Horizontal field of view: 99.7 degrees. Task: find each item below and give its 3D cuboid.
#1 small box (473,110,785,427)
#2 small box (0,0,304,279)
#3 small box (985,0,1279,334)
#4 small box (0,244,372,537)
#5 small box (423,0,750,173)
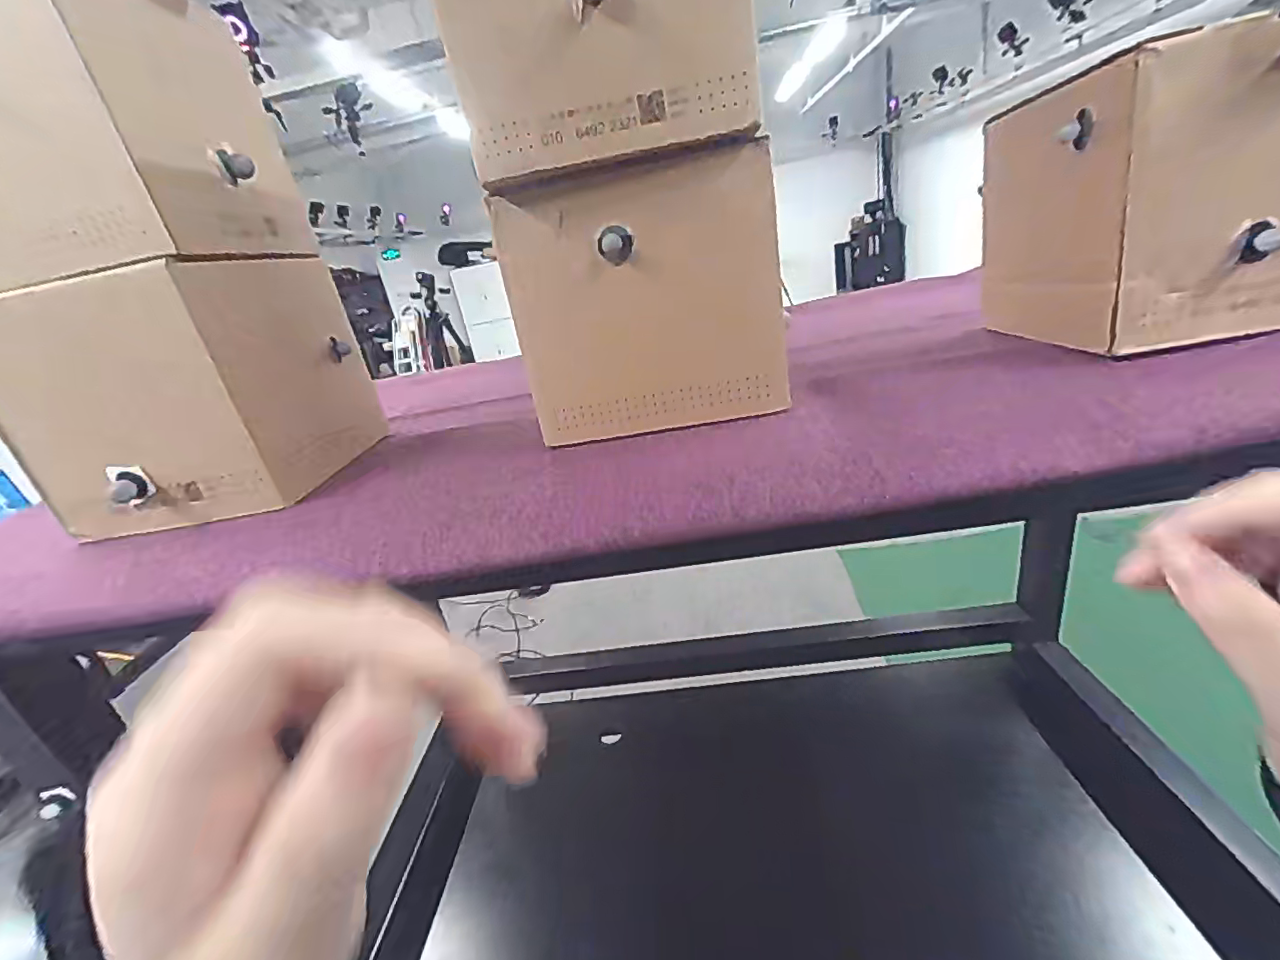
[{"bbox_3d":[0.004,-0.147,0.413,0.179,0.176,0.168,-8,22,7],"label":"small box"},{"bbox_3d":[-0.377,-0.225,0.360,0.179,0.176,0.168,-11,23,2],"label":"small box"},{"bbox_3d":[0.356,-0.201,0.364,0.168,0.176,0.179,-9,21,10],"label":"small box"},{"bbox_3d":[-0.340,-0.077,0.420,0.168,0.176,0.179,-11,24,4],"label":"small box"},{"bbox_3d":[-0.033,-0.291,0.344,0.168,0.176,0.179,-10,22,3],"label":"small box"}]
